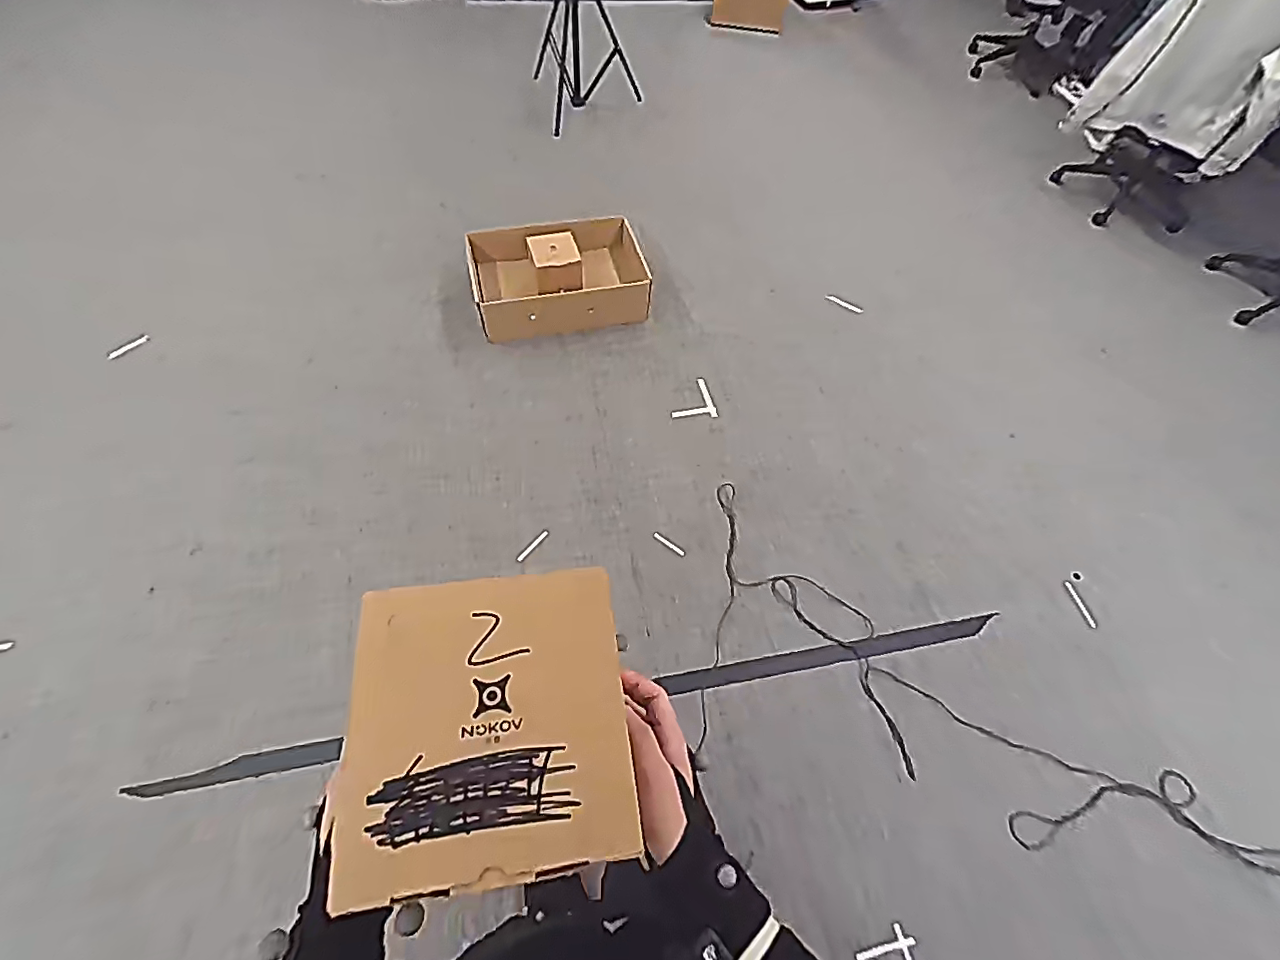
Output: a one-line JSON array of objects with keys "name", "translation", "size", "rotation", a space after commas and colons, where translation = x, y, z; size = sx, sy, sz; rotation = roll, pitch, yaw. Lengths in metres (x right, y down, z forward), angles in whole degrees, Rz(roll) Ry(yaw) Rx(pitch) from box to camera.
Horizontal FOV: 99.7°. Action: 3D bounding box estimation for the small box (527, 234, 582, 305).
[{"name": "small box", "translation": [-0.316, -0.777, 1.998], "size": [0.168, 0.176, 0.179], "rotation": [-14, 61, -12]}]
